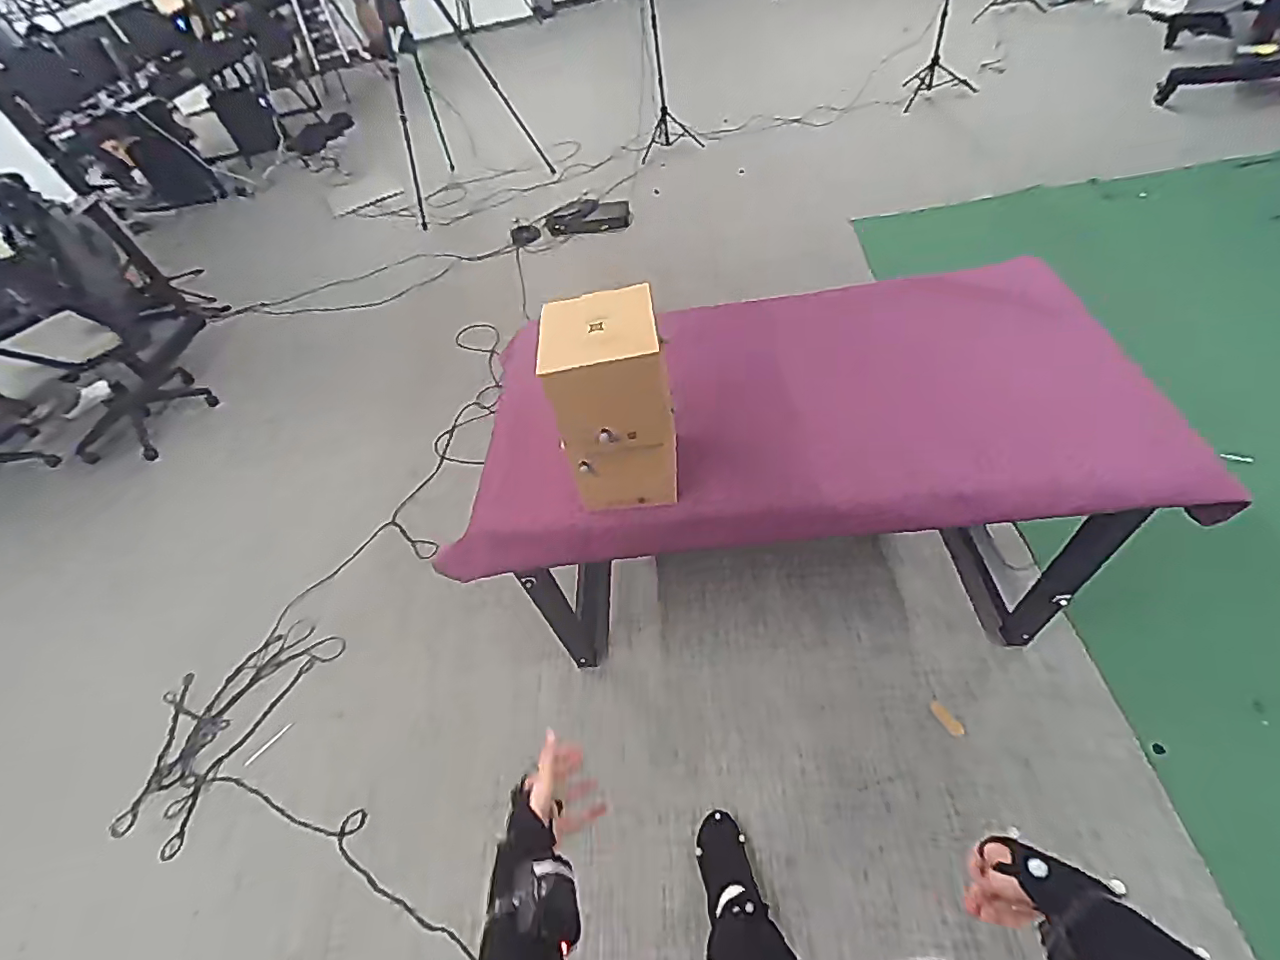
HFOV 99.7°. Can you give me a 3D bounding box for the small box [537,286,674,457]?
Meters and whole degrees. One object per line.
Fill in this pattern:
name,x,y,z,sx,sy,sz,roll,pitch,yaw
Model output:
small box,-0.045,-0.159,0.806,0.168,0.176,0.179,-9,49,5
